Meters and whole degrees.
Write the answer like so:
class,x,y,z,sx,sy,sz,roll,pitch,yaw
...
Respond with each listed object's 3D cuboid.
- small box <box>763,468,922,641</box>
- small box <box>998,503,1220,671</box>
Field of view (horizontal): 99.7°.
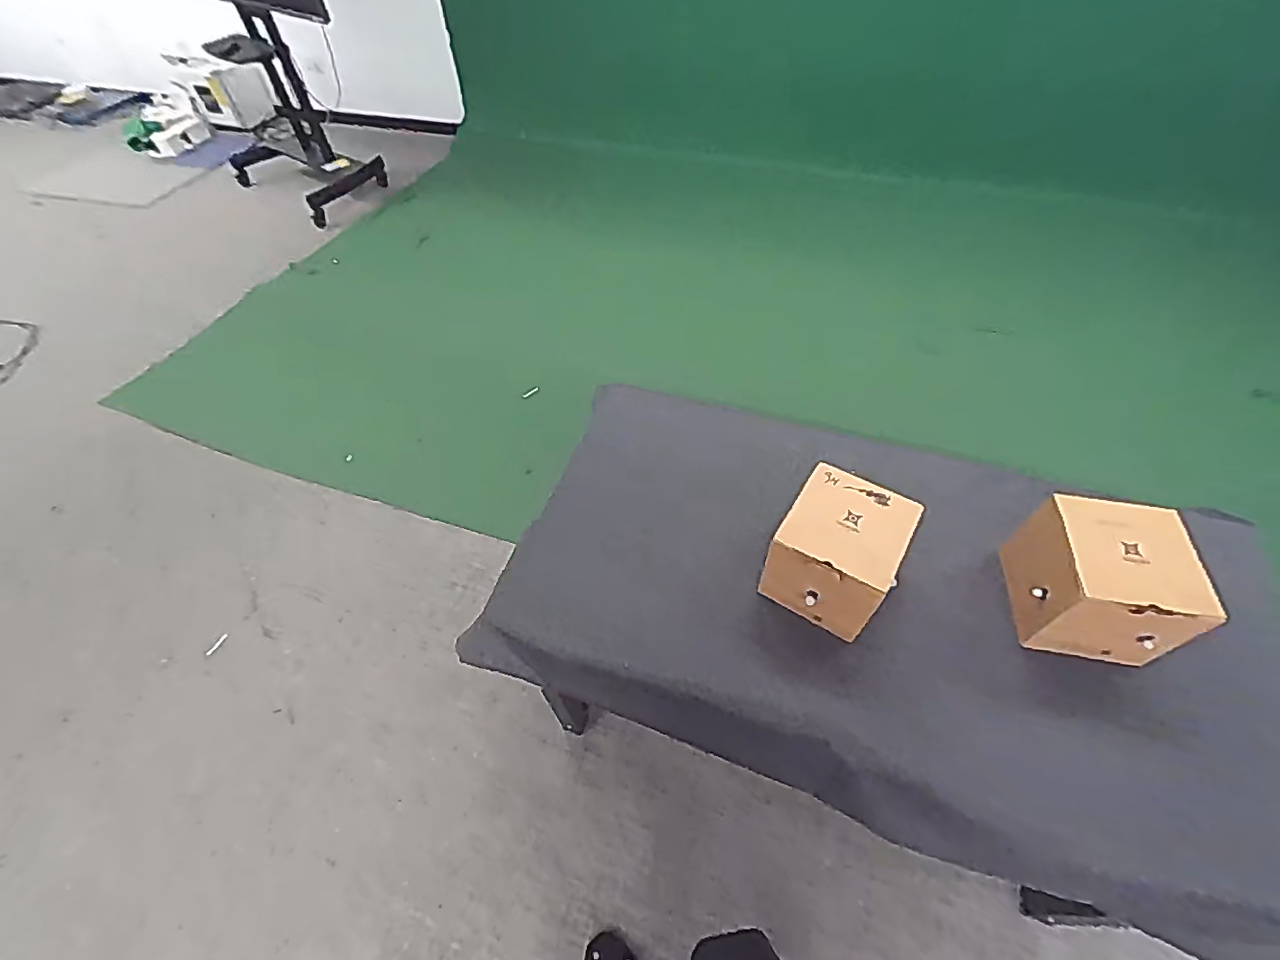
class,x,y,z,sx,sy,sz,roll,pitch,yaw
small box,0.308,0.121,0.852,0.168,0.176,0.179,28,58,22
small box,0.674,0.163,0.807,0.168,0.176,0.179,9,51,8
